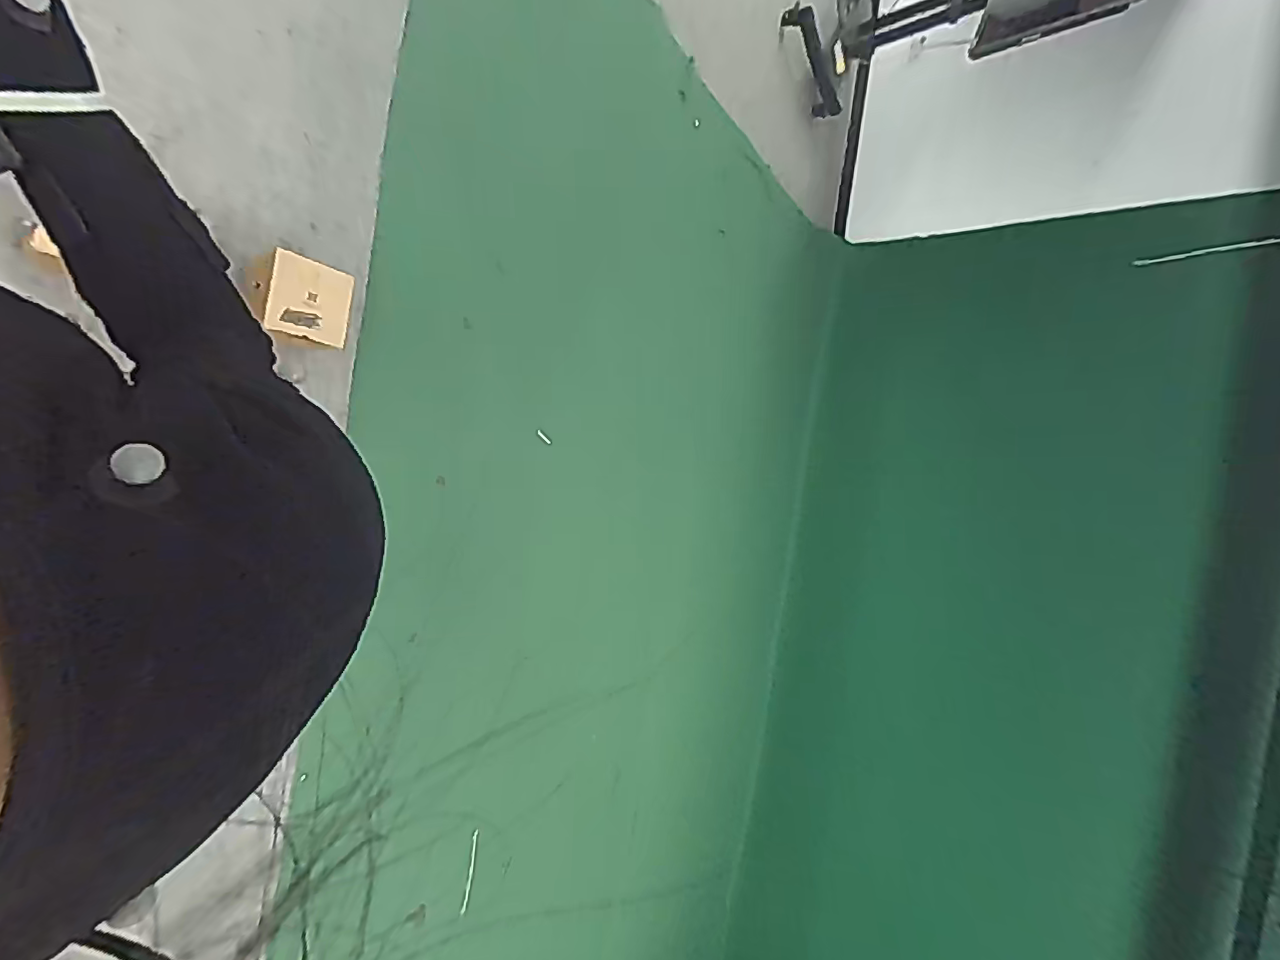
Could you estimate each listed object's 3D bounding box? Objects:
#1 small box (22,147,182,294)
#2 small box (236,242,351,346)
[{"bbox_3d":[-0.990,-0.463,0.994,0.168,0.176,0.179,18,84,-53],"label":"small box"},{"bbox_3d":[-0.802,-0.417,1.248,0.168,0.176,0.179,10,89,-53],"label":"small box"}]
